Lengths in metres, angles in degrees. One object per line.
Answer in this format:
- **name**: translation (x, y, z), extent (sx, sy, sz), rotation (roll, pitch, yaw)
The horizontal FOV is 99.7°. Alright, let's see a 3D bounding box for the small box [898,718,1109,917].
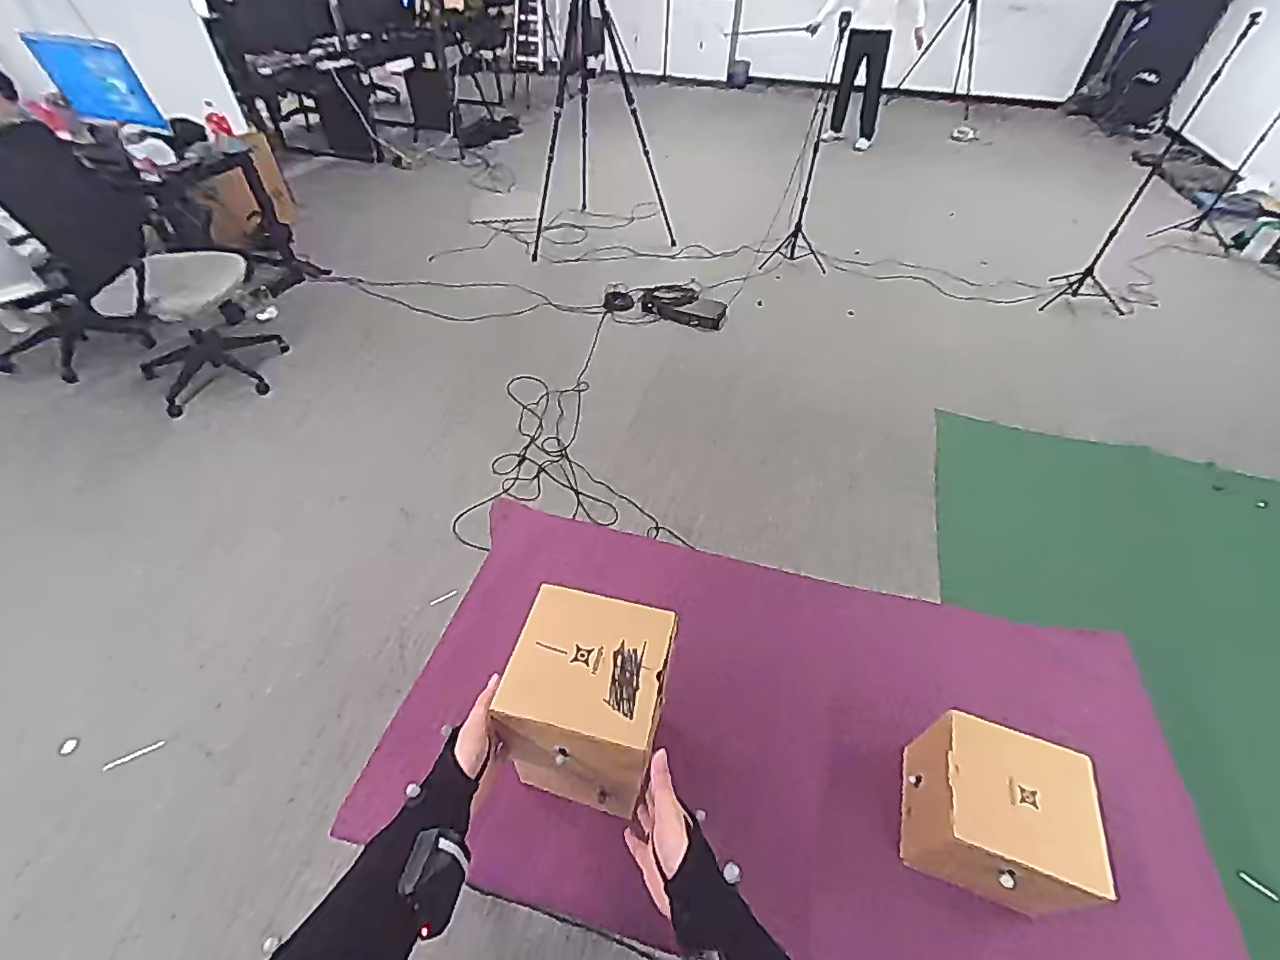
- **small box**: translation (0.478, 0.463, 0.740), extent (0.179, 0.176, 0.168), rotation (16, 47, 14)

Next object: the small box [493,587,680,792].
- **small box**: translation (-0.058, 0.263, 0.671), extent (0.179, 0.176, 0.168), rotation (12, 46, 8)
